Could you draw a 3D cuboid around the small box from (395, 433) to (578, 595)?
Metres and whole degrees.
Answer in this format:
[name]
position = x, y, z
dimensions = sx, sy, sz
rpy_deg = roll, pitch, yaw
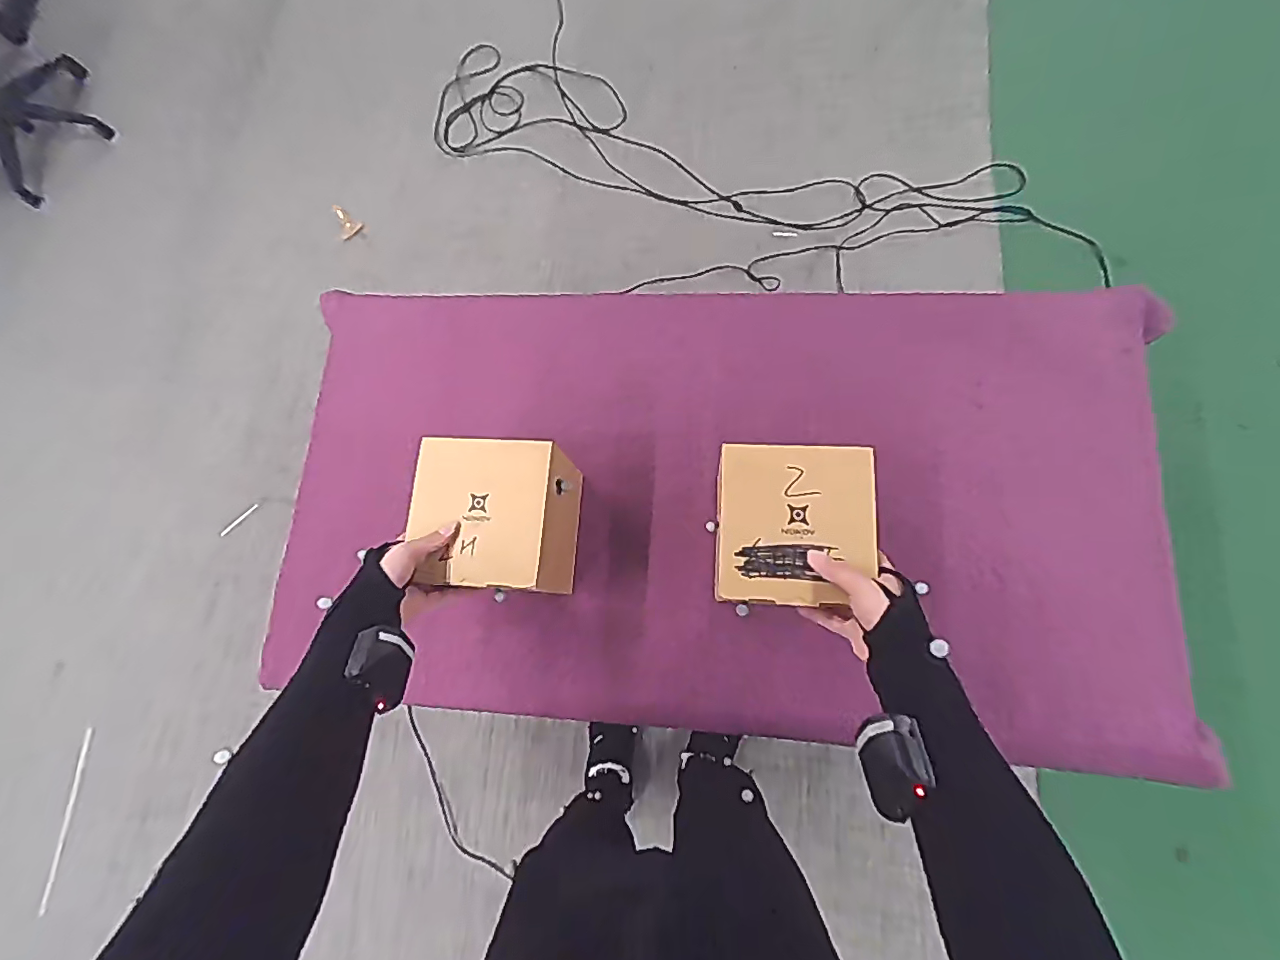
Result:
[small box]
position = -0.182, 0.051, 0.697
dimensions = 0.168, 0.176, 0.179
rpy_deg = 3, 77, 7
